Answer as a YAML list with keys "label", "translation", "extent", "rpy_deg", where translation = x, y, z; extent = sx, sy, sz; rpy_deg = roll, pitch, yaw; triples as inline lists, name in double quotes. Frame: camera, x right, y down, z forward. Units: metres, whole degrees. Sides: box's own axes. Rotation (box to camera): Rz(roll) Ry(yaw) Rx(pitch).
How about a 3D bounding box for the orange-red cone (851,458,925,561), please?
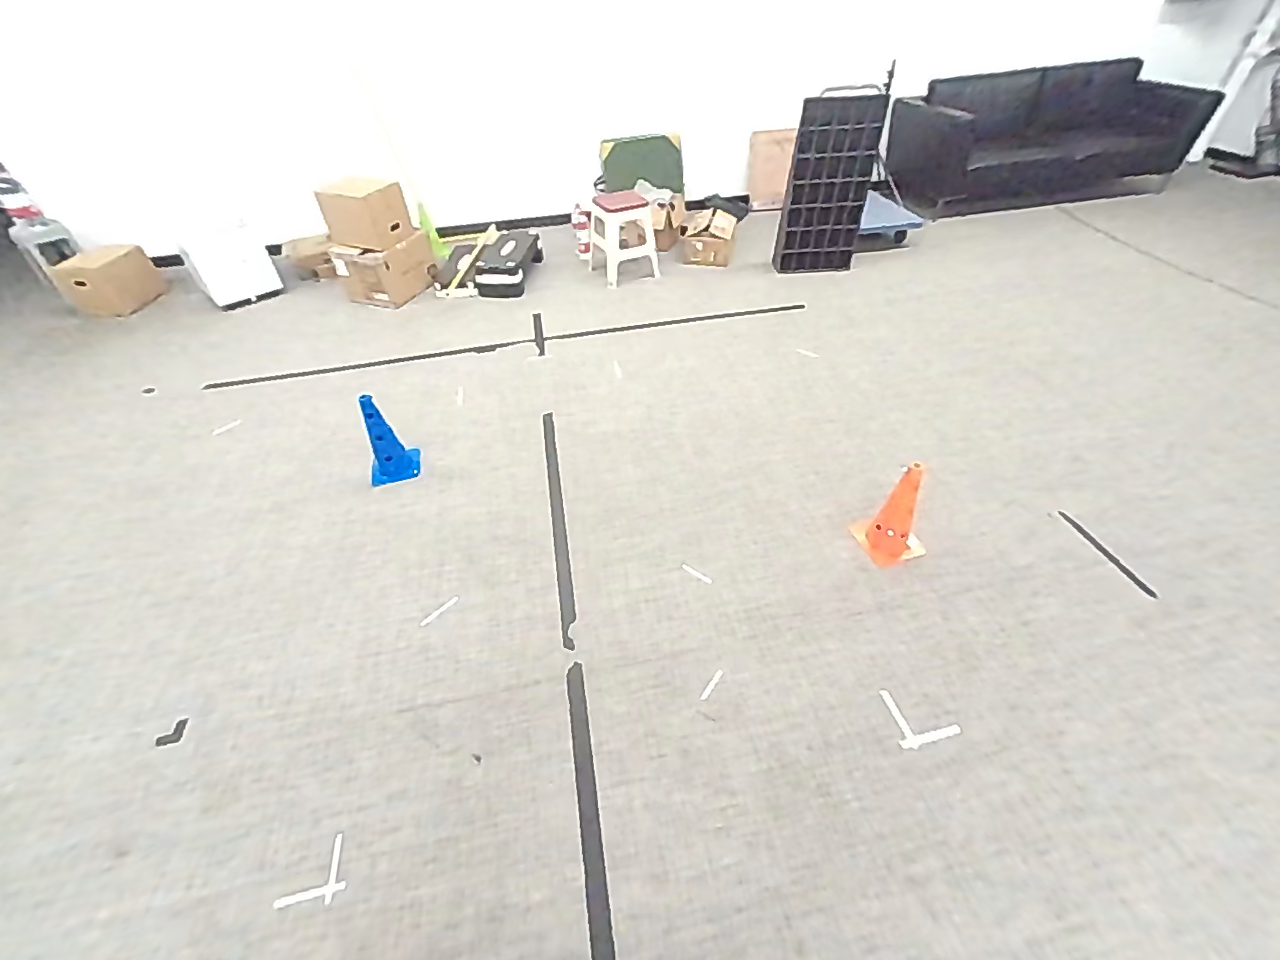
- label: "orange-red cone"
  translation: [0.870, 0.073, 1.801]
  extent: [0.198, 0.360, 0.199]
  rpy_deg: [-11, 42, -10]

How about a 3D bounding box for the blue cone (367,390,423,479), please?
- label: "blue cone"
  translation: [-1.029, -0.195, 2.190]
  extent: [0.192, 0.380, 0.193]
  rpy_deg: [-12, 44, -10]
